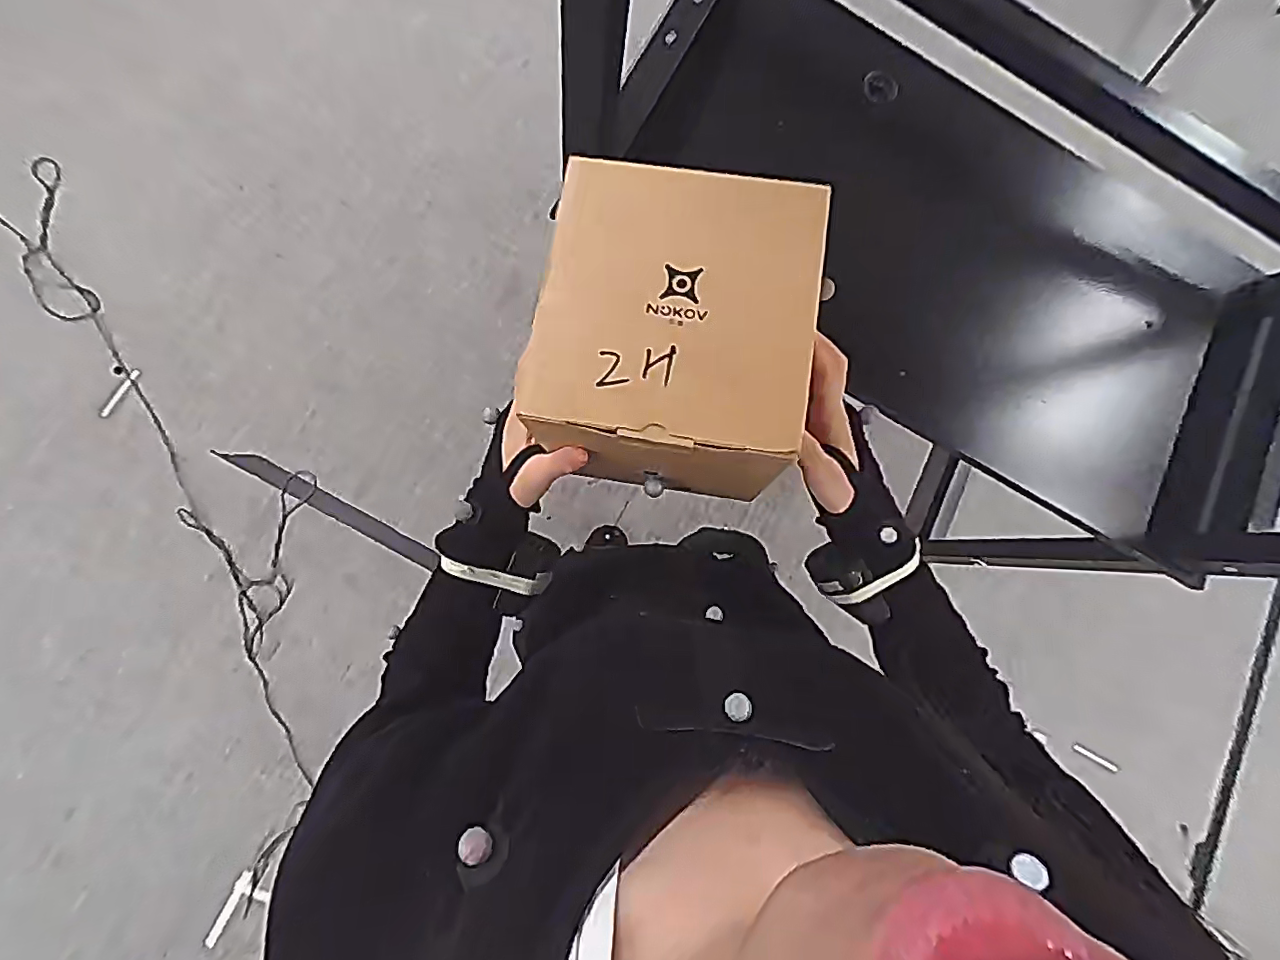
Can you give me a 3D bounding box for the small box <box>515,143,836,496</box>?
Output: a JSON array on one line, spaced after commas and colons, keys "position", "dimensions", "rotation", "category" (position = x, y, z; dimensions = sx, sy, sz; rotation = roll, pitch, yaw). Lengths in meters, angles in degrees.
[{"position": [0.026, -0.096, 0.390], "dimensions": [0.168, 0.176, 0.179], "rotation": [9, 80, 4], "category": "small box"}]
